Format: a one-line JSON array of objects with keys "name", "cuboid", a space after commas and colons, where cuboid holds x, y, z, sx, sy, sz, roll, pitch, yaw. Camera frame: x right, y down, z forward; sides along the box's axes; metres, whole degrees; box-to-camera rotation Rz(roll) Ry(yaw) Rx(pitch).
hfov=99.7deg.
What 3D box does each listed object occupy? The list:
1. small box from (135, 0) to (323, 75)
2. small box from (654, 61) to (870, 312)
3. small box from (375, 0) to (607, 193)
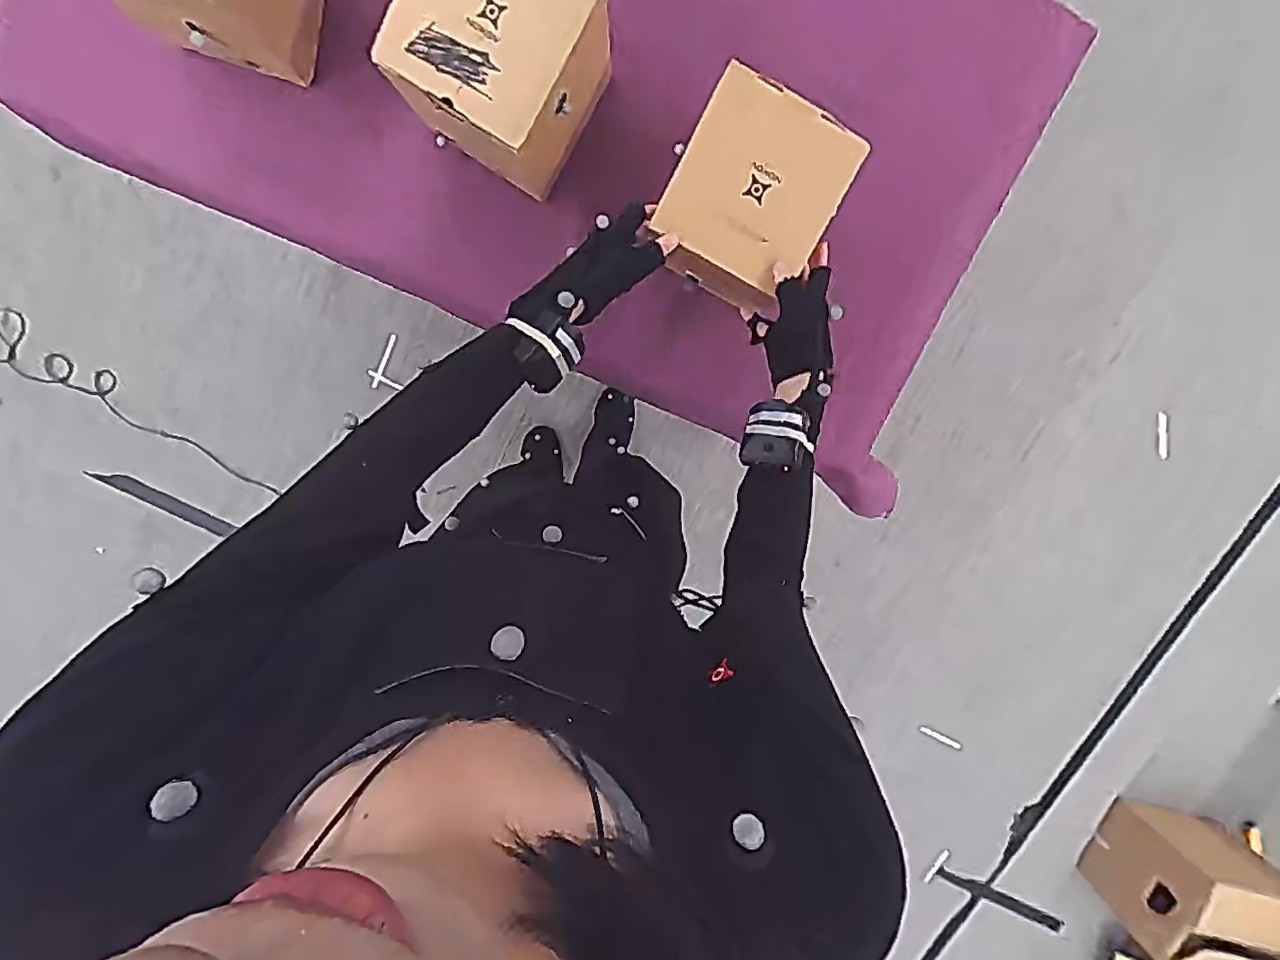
[{"name": "small box", "cuboid": [-0.451, -0.572, 0.560, 0.168, 0.176, 0.179, 16, 101, -5]}, {"name": "small box", "cuboid": [0.122, -0.317, 0.629, 0.168, 0.176, 0.179, 27, 100, -5]}, {"name": "small box", "cuboid": [-0.144, -0.456, 0.593, 0.168, 0.176, 0.179, 31, 98, -7]}]
